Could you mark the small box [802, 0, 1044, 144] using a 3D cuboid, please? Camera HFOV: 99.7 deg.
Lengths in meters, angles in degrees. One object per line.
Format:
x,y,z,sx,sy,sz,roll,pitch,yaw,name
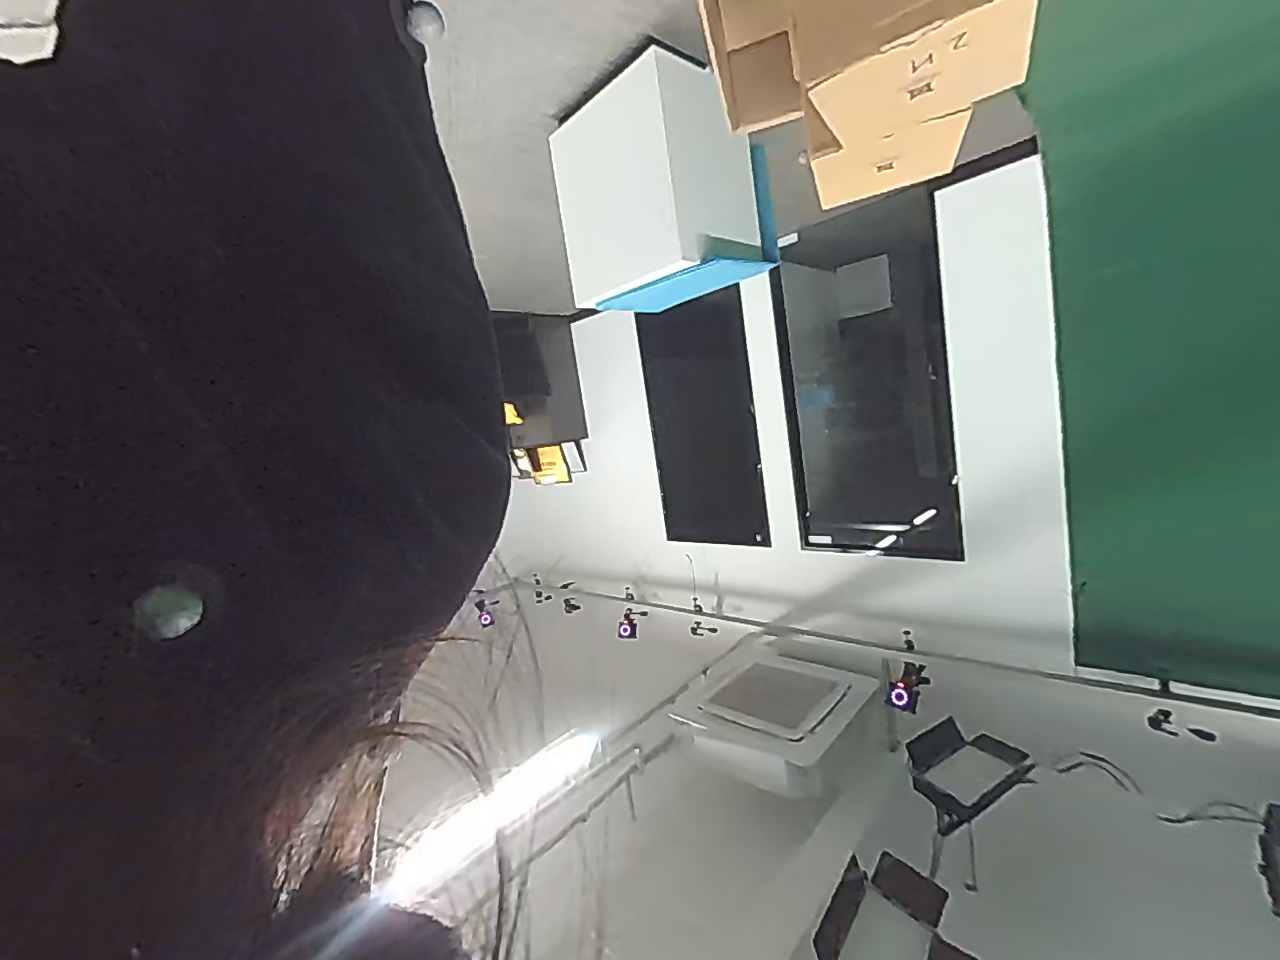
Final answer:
0.242,-0.439,0.472,0.168,0.176,0.179,-6,-172,33,small box
